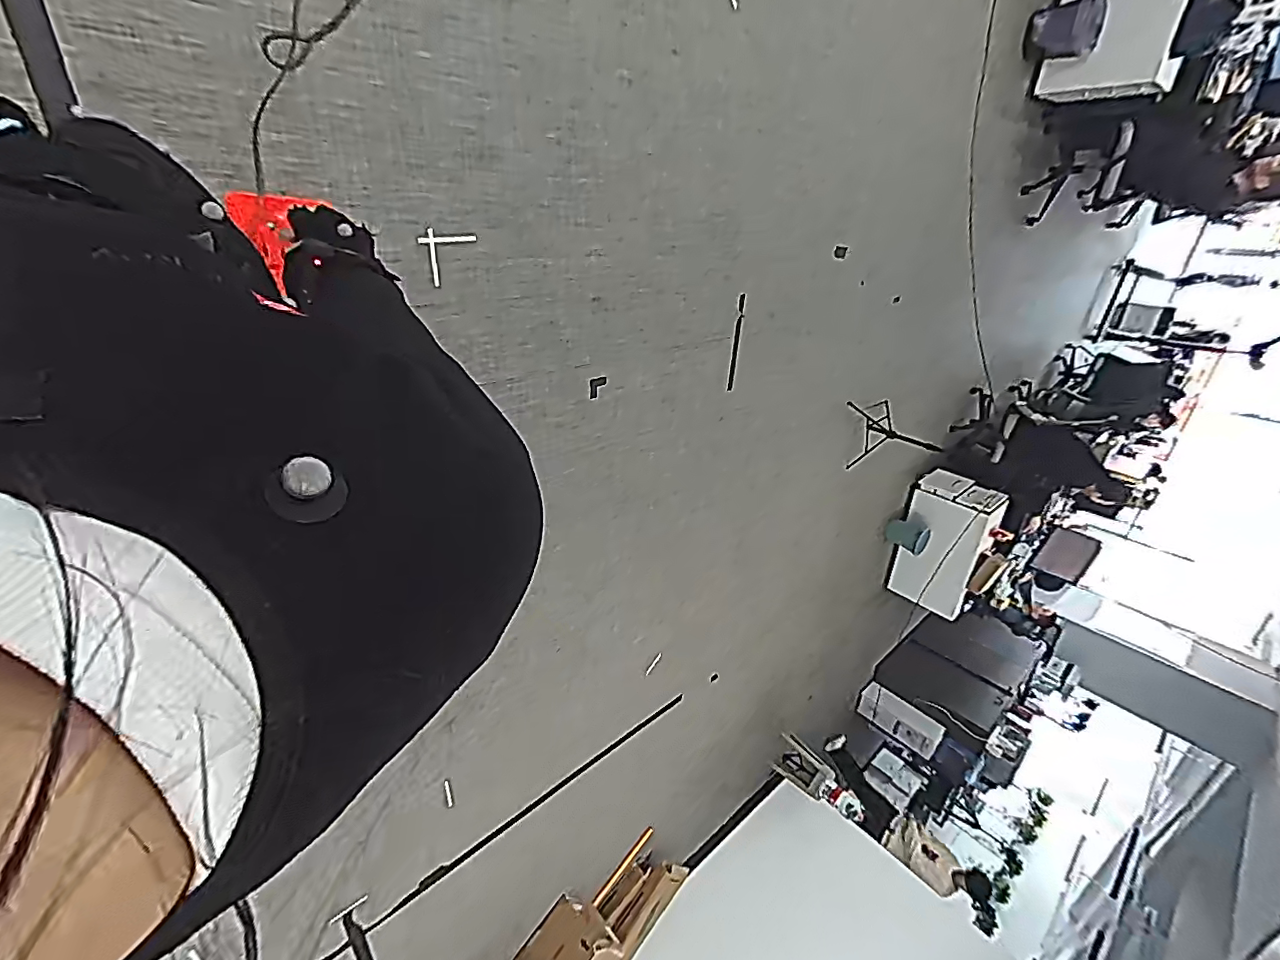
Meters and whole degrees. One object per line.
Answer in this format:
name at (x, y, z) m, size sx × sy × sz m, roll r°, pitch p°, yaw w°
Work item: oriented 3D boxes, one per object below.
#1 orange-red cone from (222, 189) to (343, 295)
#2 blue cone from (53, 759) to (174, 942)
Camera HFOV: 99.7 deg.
orange-red cone at (-0.641, -0.432, 1.037) m, size 0.199 × 0.360 × 0.198 m, roll -15°, pitch 123°, yaw -41°
blue cone at (-1.179, 0.847, 1.221) m, size 0.192 × 0.380 × 0.193 m, roll -14°, pitch 121°, yaw -38°
